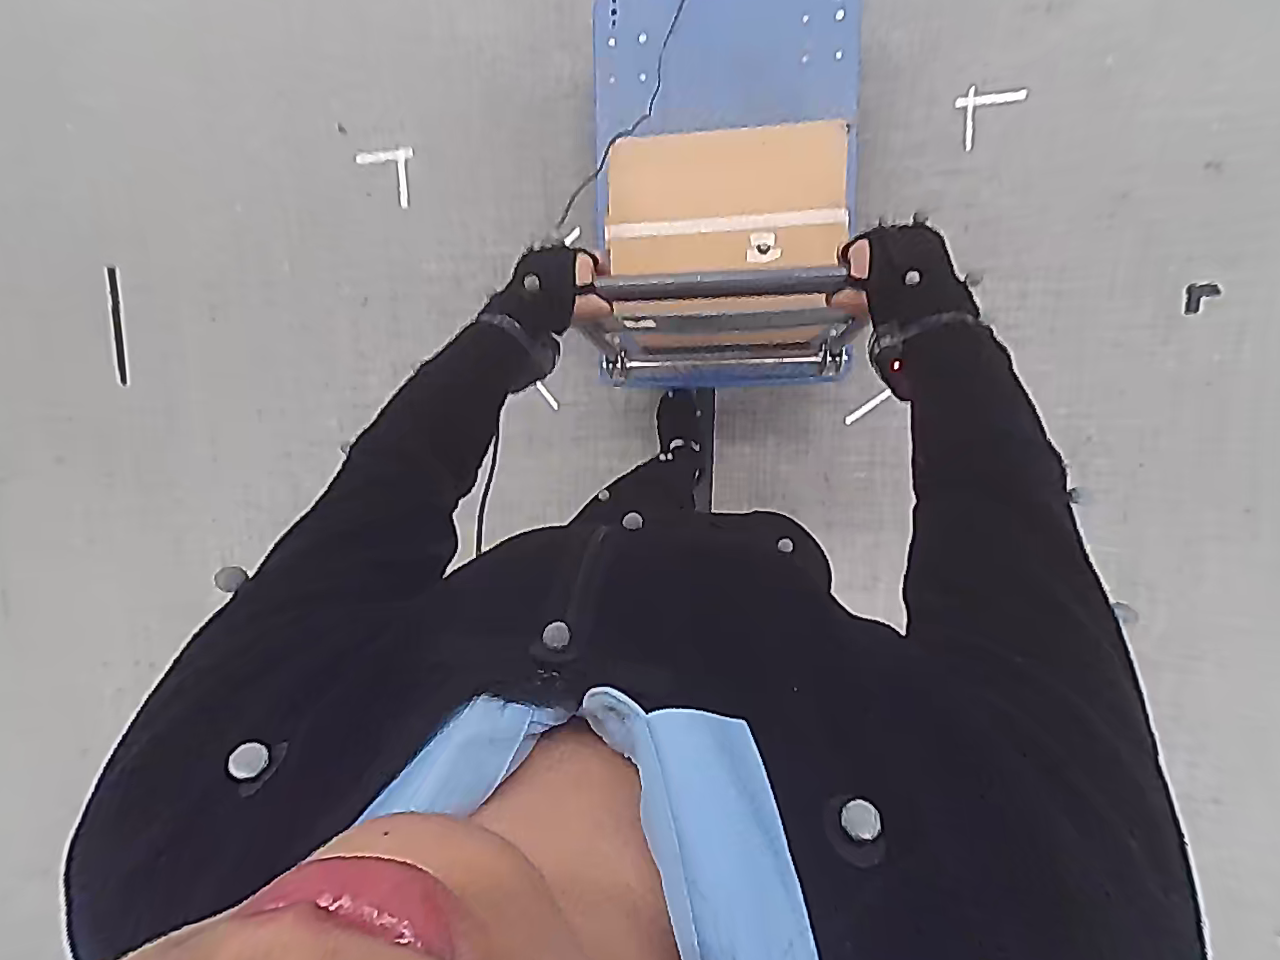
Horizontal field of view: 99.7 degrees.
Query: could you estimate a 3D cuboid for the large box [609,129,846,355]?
[{"bbox_3d":[0.164,-0.434,1.072,0.408,0.320,0.320,0,96,8],"label":"large box"}]
